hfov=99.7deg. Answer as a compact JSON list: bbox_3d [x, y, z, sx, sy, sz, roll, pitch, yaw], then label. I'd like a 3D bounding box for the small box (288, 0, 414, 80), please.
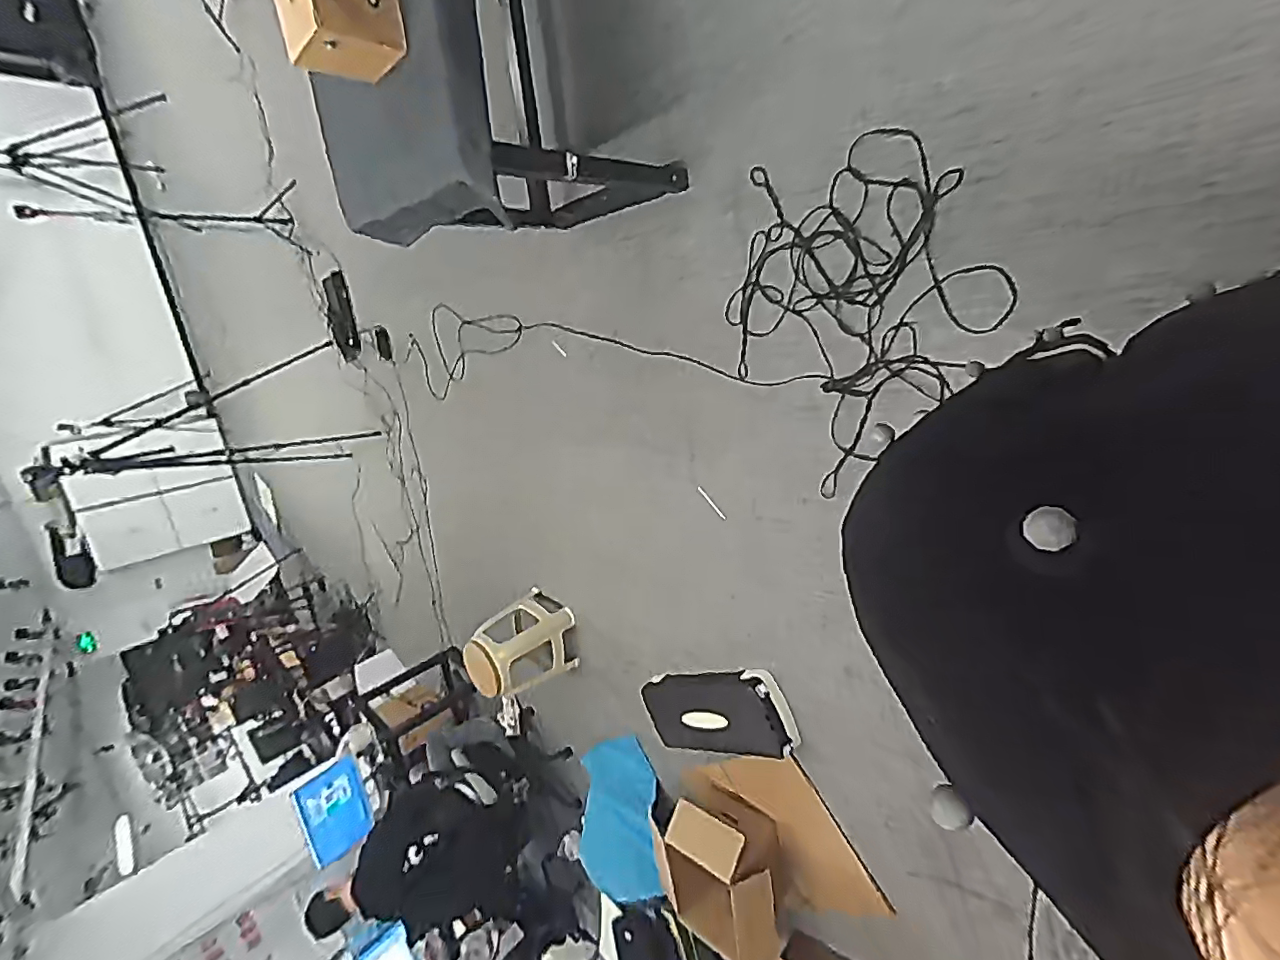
[{"bbox_3d":[-0.566,-0.917,1.054,0.179,0.176,0.168,10,113,43],"label":"small box"}]
